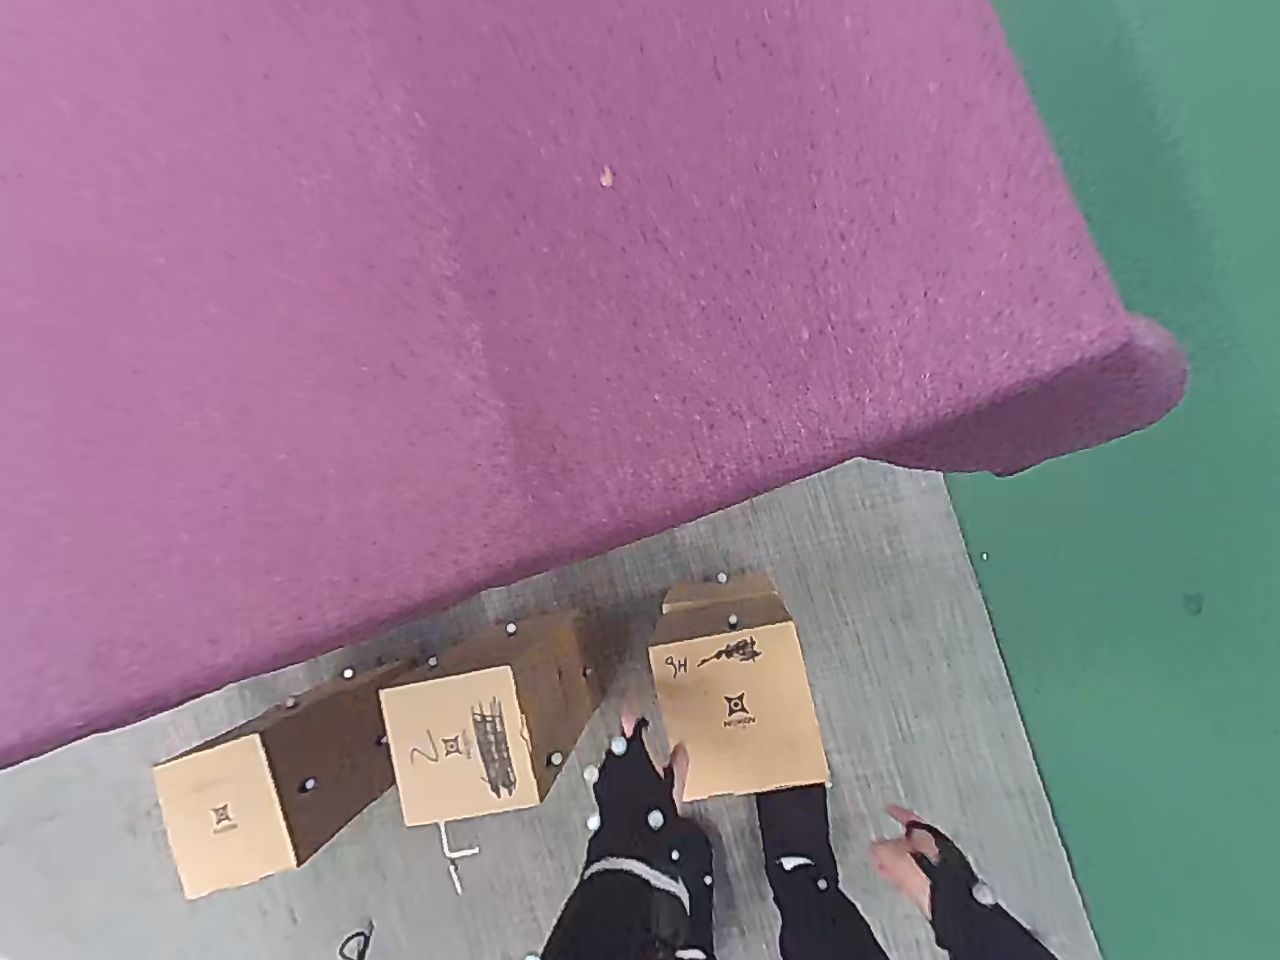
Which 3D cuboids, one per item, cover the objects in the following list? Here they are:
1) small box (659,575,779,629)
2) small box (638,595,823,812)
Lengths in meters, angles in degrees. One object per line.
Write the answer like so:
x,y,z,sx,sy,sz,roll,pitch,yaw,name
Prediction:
0.130,0.254,0.839,0.168,0.176,0.179,-8,86,8,small box
0.106,0.262,0.672,0.168,0.176,0.179,-18,89,4,small box
